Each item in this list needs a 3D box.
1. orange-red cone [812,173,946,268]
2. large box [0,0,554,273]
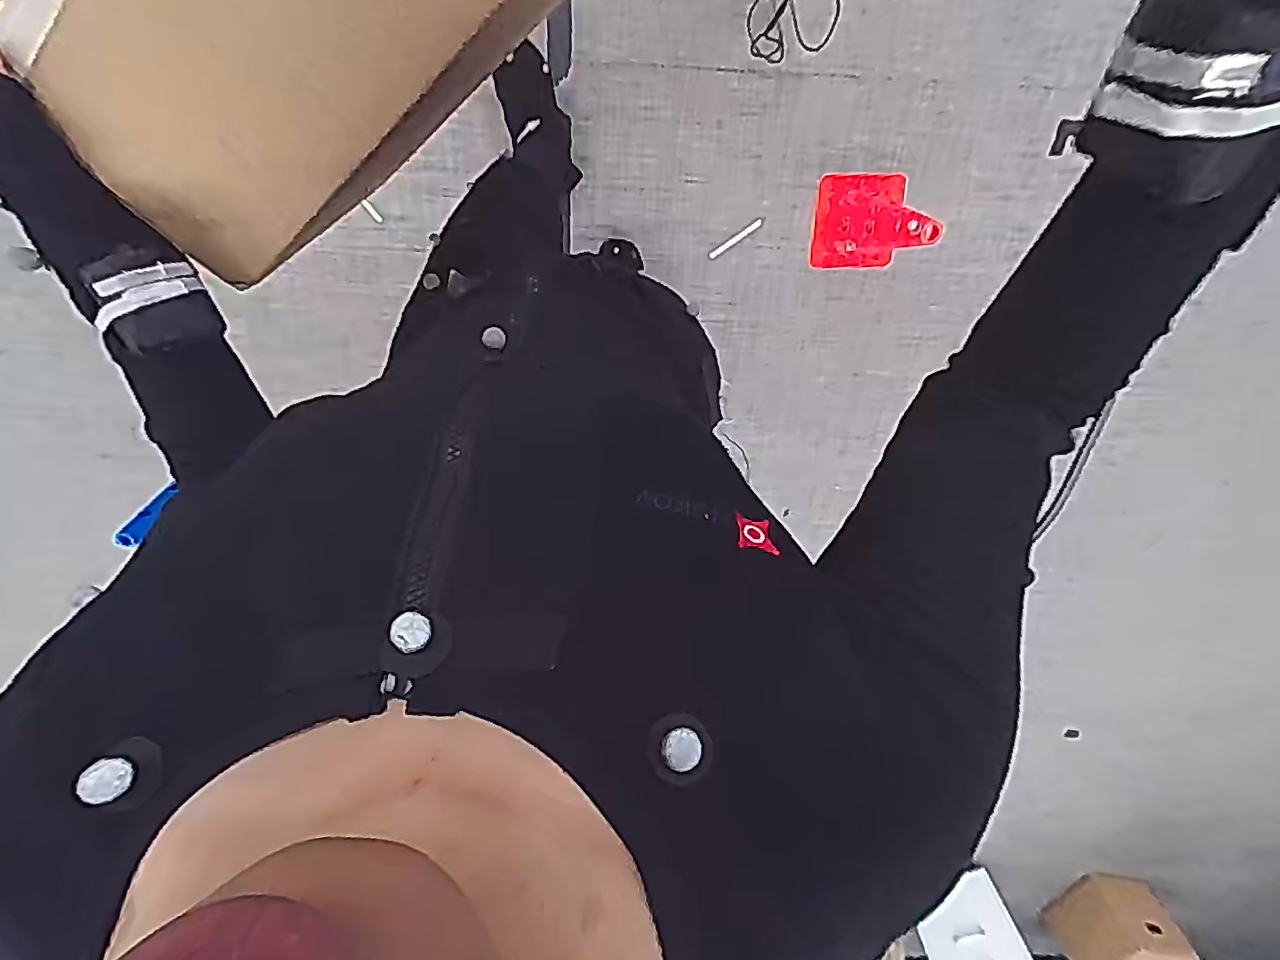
[{"bbox_3d":[0.514,-0.525,1.108,0.198,0.360,0.199,-1,117,-2],"label":"orange-red cone"},{"bbox_3d":[-0.236,-0.435,0.374,0.408,0.320,0.320,-30,126,22],"label":"large box"}]
